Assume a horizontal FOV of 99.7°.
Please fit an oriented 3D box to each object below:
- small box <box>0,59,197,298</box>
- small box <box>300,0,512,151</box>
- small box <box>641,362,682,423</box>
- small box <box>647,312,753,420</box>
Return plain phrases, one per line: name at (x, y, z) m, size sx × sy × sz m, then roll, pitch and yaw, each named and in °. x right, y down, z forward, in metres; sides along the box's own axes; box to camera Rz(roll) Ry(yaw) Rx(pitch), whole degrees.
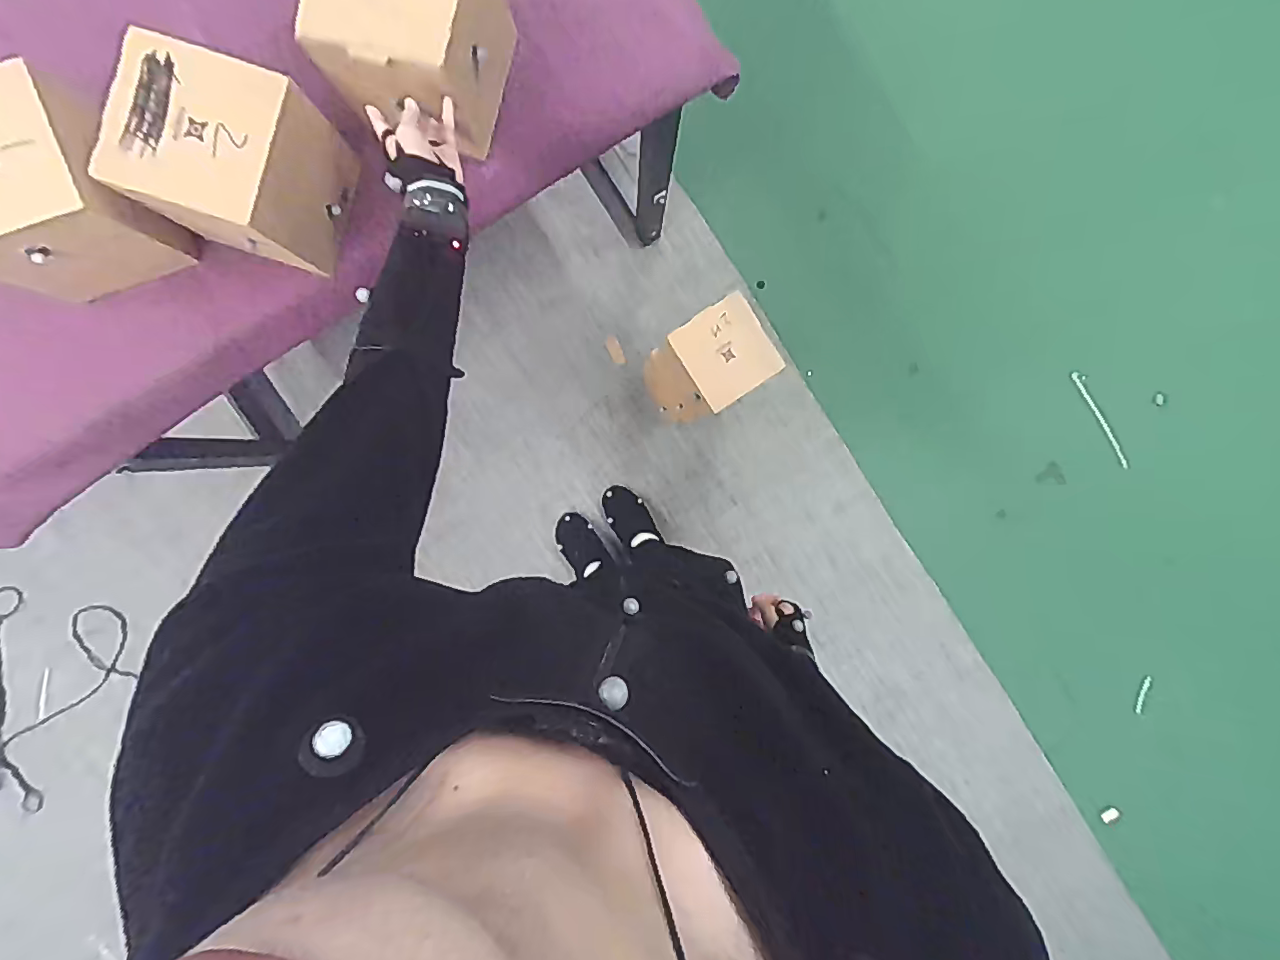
small box at (-0.698, -0.338, 0.645) m, size 0.179 × 0.176 × 0.168 m, roll -20°, pitch 94°, yaw -2°
small box at (-0.263, -0.540, 0.650) m, size 0.168 × 0.176 × 0.179 m, roll 14°, pitch 91°, yaw -3°
small box at (0.116, -0.260, 1.413) m, size 0.179 × 0.176 × 0.168 m, roll -32°, pitch 94°, yaw -1°
small box at (0.129, -0.253, 1.252) m, size 0.168 × 0.176 × 0.179 m, roll -34°, pitch 96°, yaw -1°
